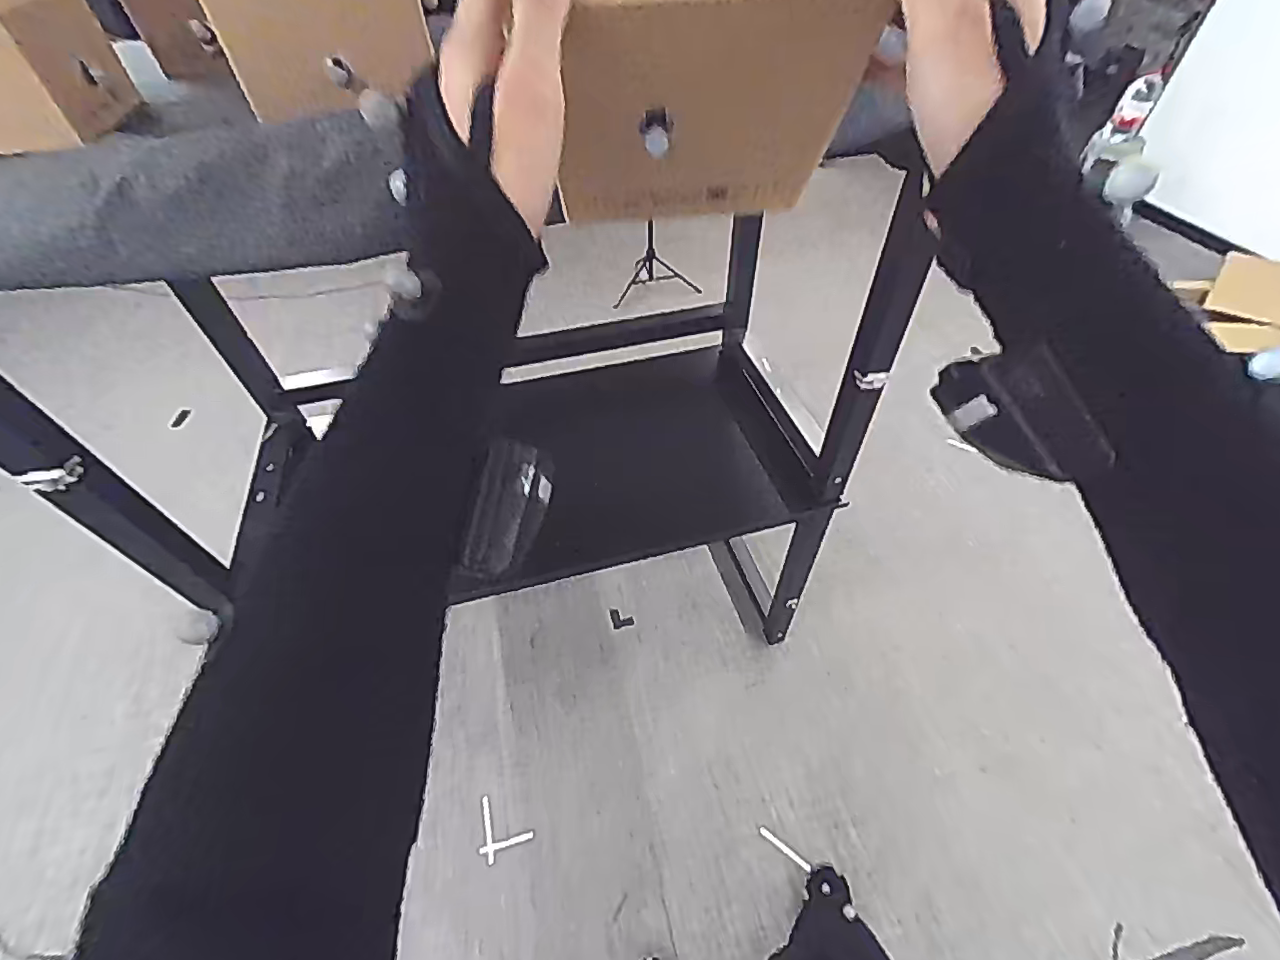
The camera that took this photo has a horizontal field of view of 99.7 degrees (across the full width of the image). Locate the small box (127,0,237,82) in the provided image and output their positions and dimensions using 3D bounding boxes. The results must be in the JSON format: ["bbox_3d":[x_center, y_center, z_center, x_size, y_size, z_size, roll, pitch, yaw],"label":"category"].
[{"bbox_3d":[-0.537,-0.623,0.677,0.168,0.176,0.179,-19,51,-12],"label":"small box"}]

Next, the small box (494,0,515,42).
[{"bbox_3d":[-0.126,-0.736,0.753,0.179,0.176,0.168,-13,51,-8],"label":"small box"}]

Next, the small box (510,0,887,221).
[{"bbox_3d":[0.023,-0.273,0.315,0.168,0.176,0.179,-4,84,0],"label":"small box"}]

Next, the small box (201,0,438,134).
[{"bbox_3d":[-0.305,-0.464,0.530,0.179,0.176,0.168,-13,49,-9],"label":"small box"}]
